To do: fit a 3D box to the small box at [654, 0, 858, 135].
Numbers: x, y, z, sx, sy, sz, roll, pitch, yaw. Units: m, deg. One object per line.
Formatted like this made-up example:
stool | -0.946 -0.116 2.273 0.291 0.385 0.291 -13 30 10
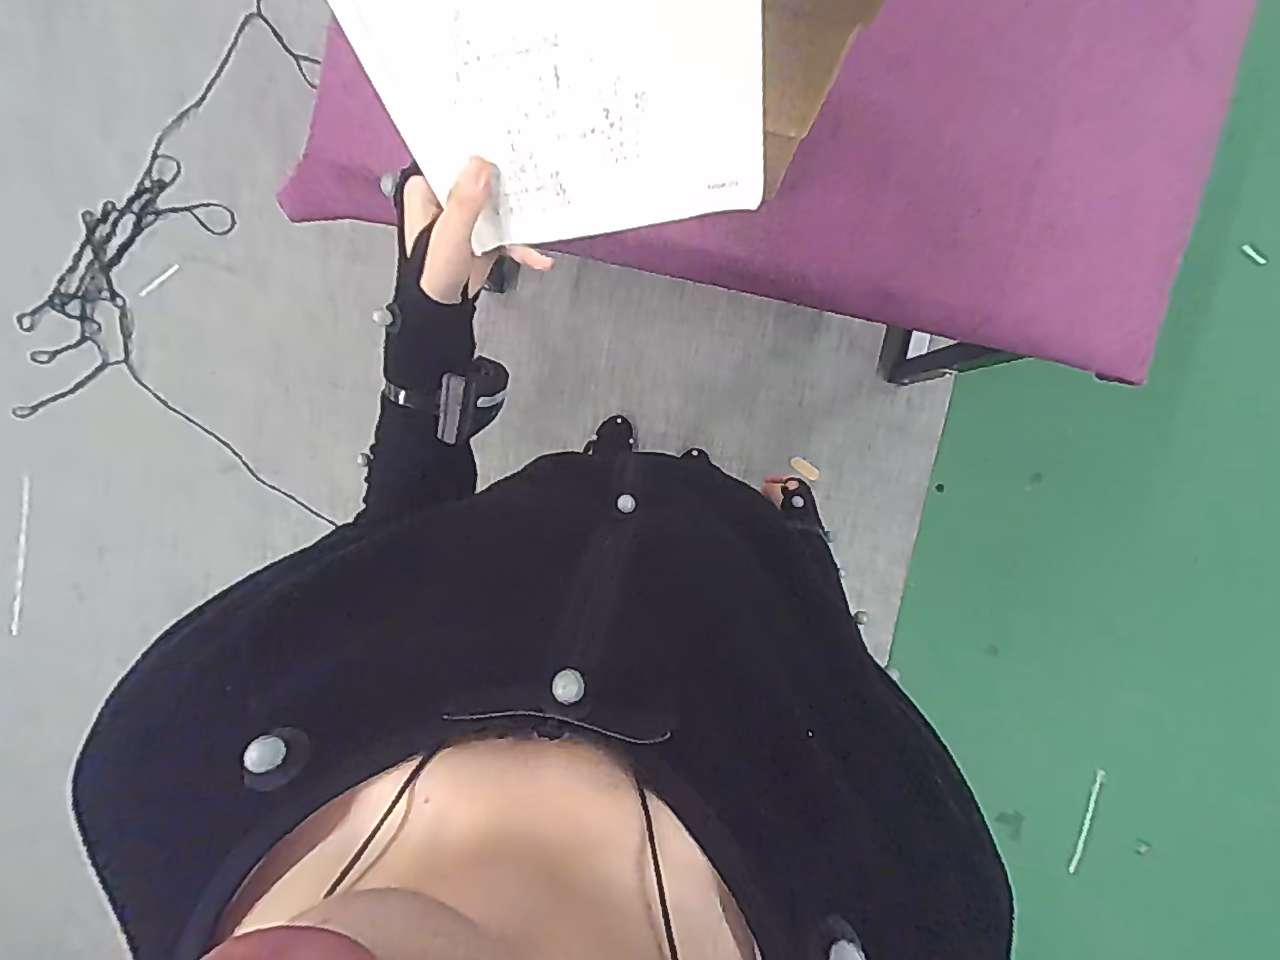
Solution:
small box | 0.113 -0.465 0.504 0.168 0.176 0.179 13 93 1
